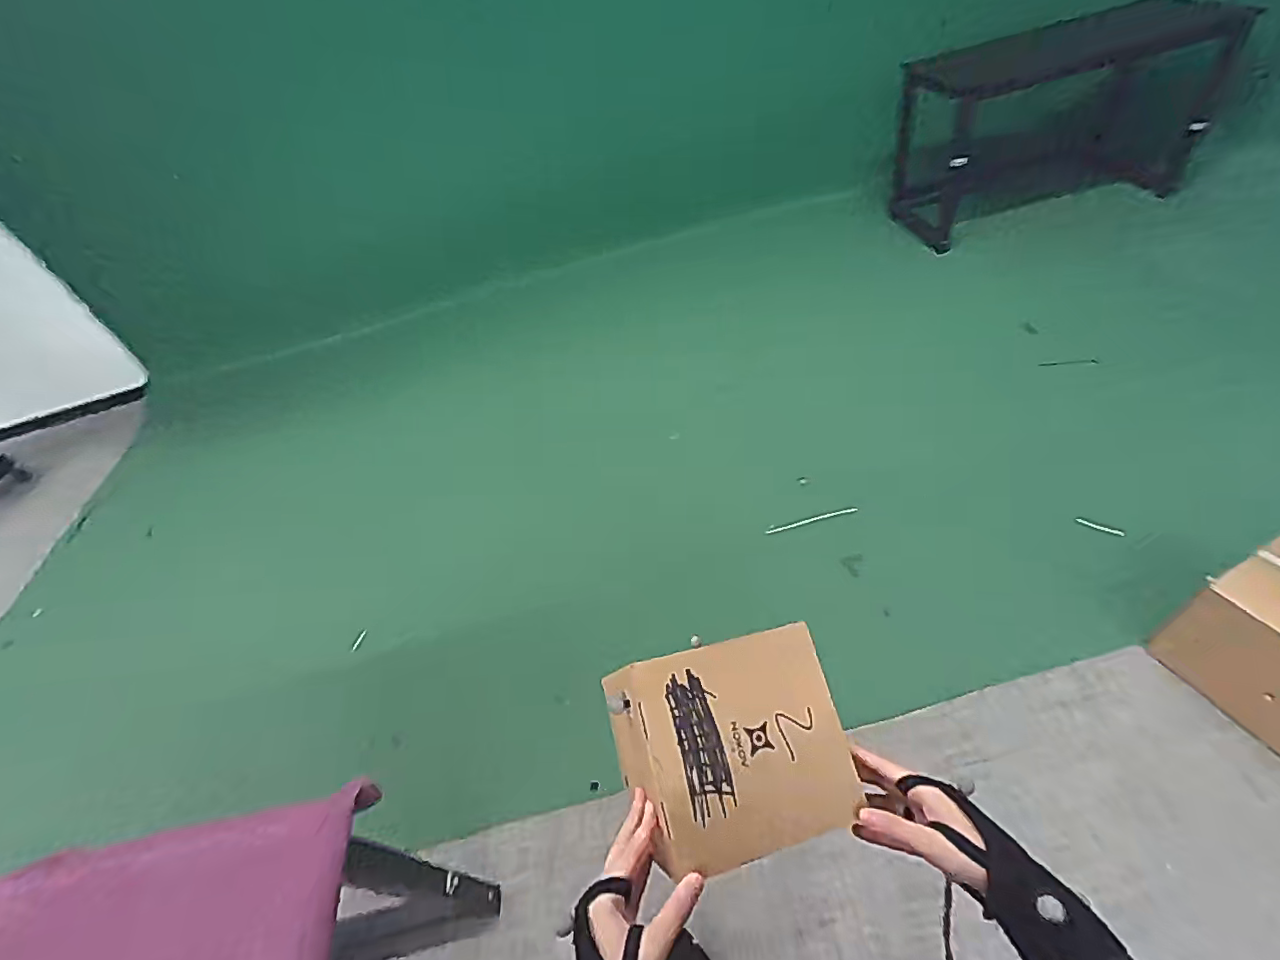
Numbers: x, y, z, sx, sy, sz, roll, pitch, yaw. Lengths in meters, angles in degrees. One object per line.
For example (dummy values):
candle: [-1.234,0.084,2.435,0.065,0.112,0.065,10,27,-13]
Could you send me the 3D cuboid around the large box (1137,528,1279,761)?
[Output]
large box: [1.445,0.384,1.162,0.320,0.320,0.408,-25,45,-10]
